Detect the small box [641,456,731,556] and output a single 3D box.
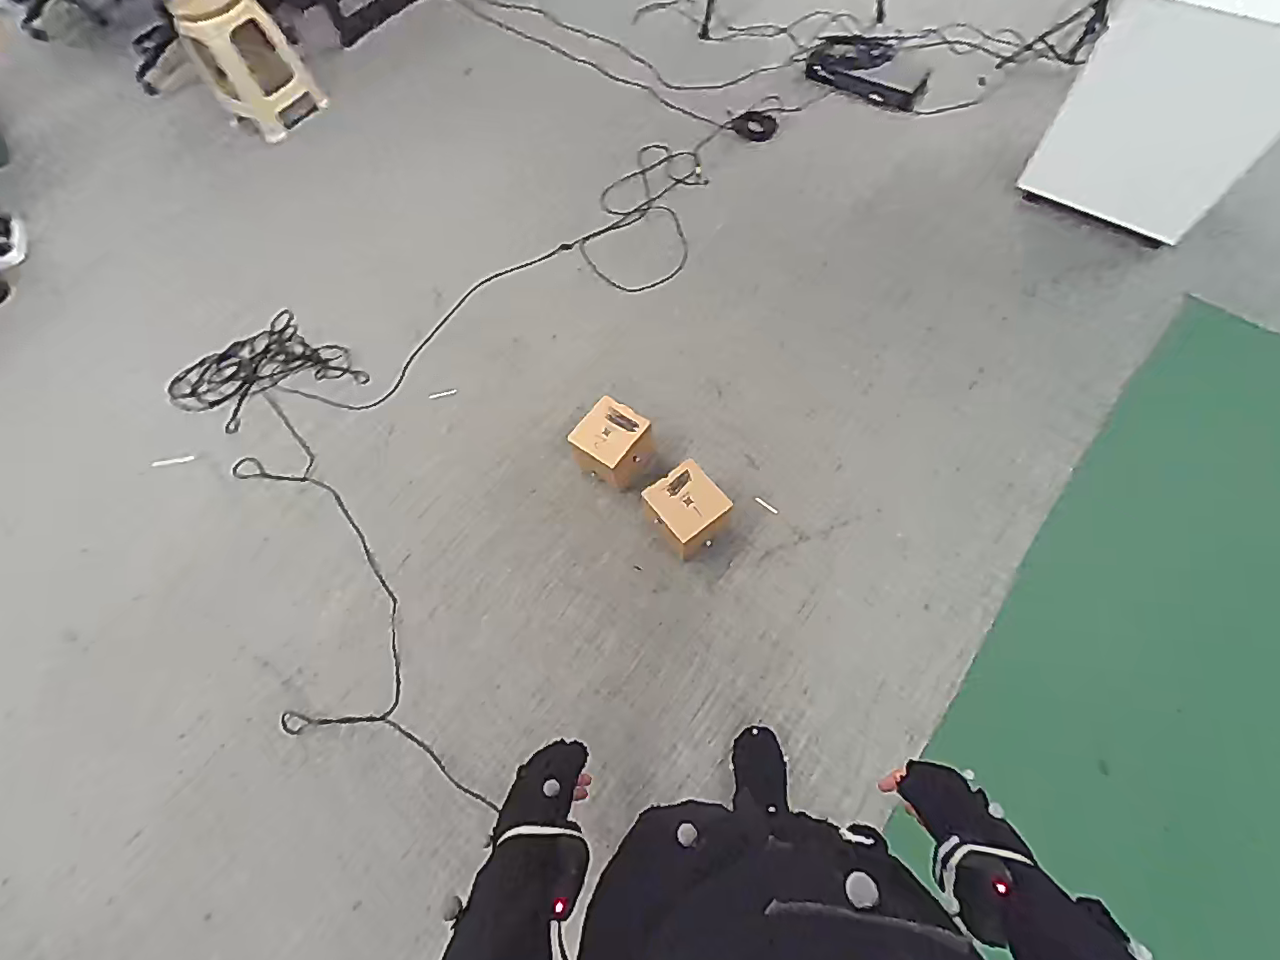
[{"bbox_3d":[0.119,0.075,1.441,0.168,0.176,0.179,-36,68,-11],"label":"small box"}]
